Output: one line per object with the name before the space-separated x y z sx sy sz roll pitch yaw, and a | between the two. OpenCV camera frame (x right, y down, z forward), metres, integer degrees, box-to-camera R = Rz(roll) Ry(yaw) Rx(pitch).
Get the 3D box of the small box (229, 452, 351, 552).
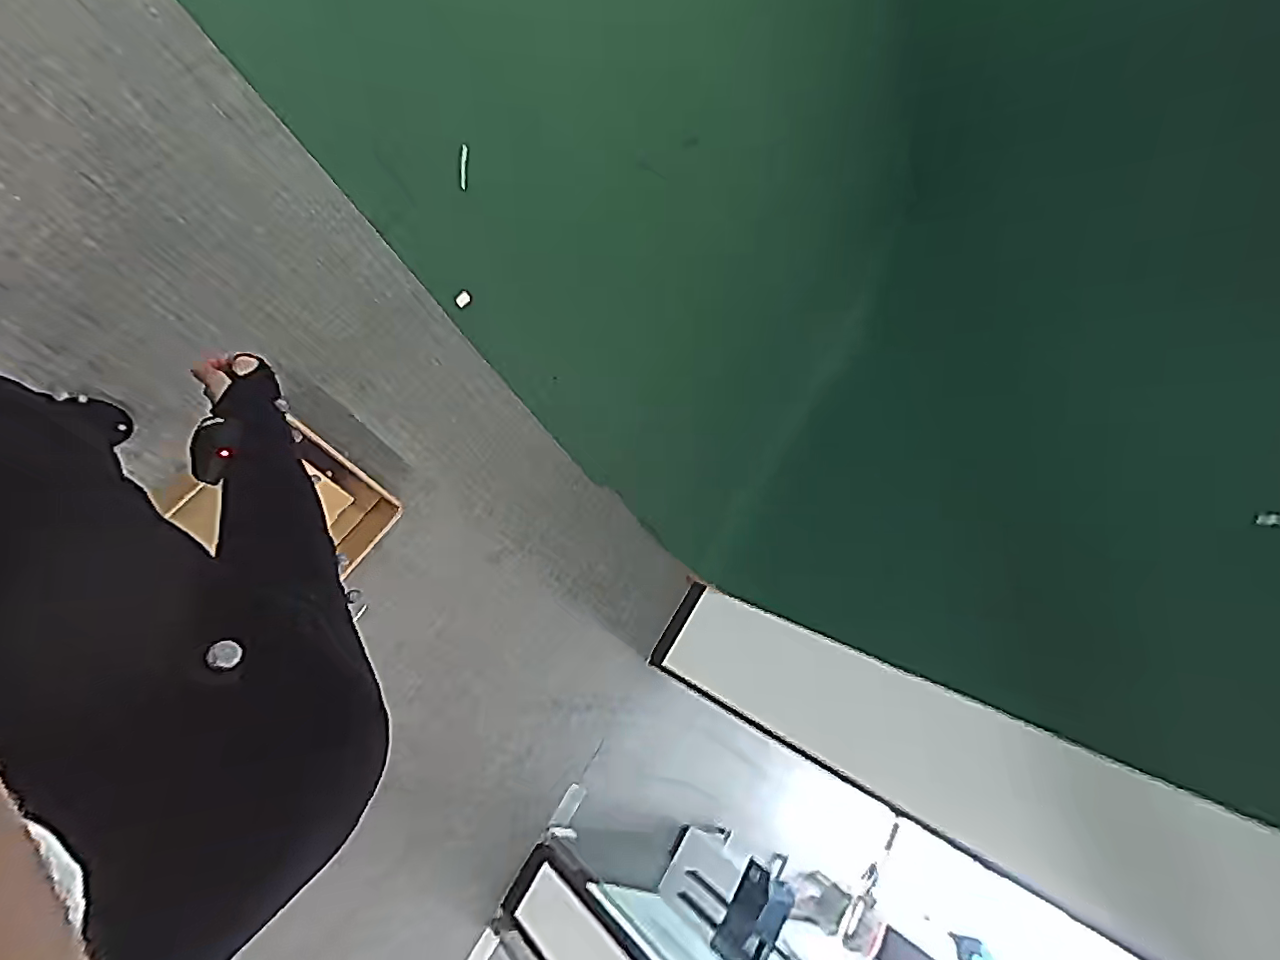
small box | -0.869 0.048 1.339 0.168 0.176 0.179 -54 134 -20
